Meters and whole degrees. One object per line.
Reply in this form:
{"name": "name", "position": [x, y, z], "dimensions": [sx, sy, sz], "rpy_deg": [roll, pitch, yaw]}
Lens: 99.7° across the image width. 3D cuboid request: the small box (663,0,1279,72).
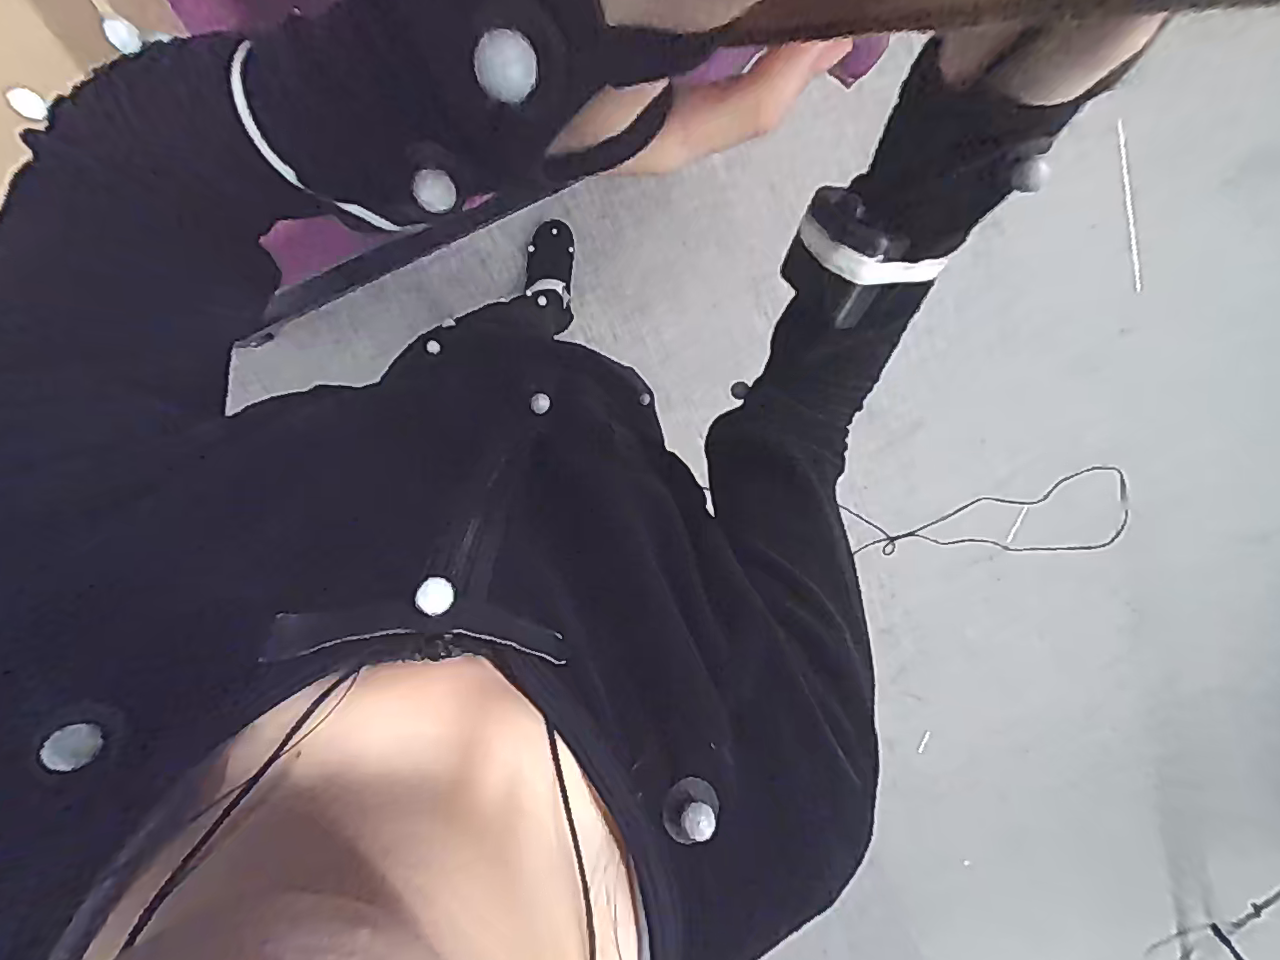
{"name": "small box", "position": [0.098, -0.184, 0.073], "dimensions": [0.168, 0.179, 0.176], "rpy_deg": [-30, 134, -15]}
